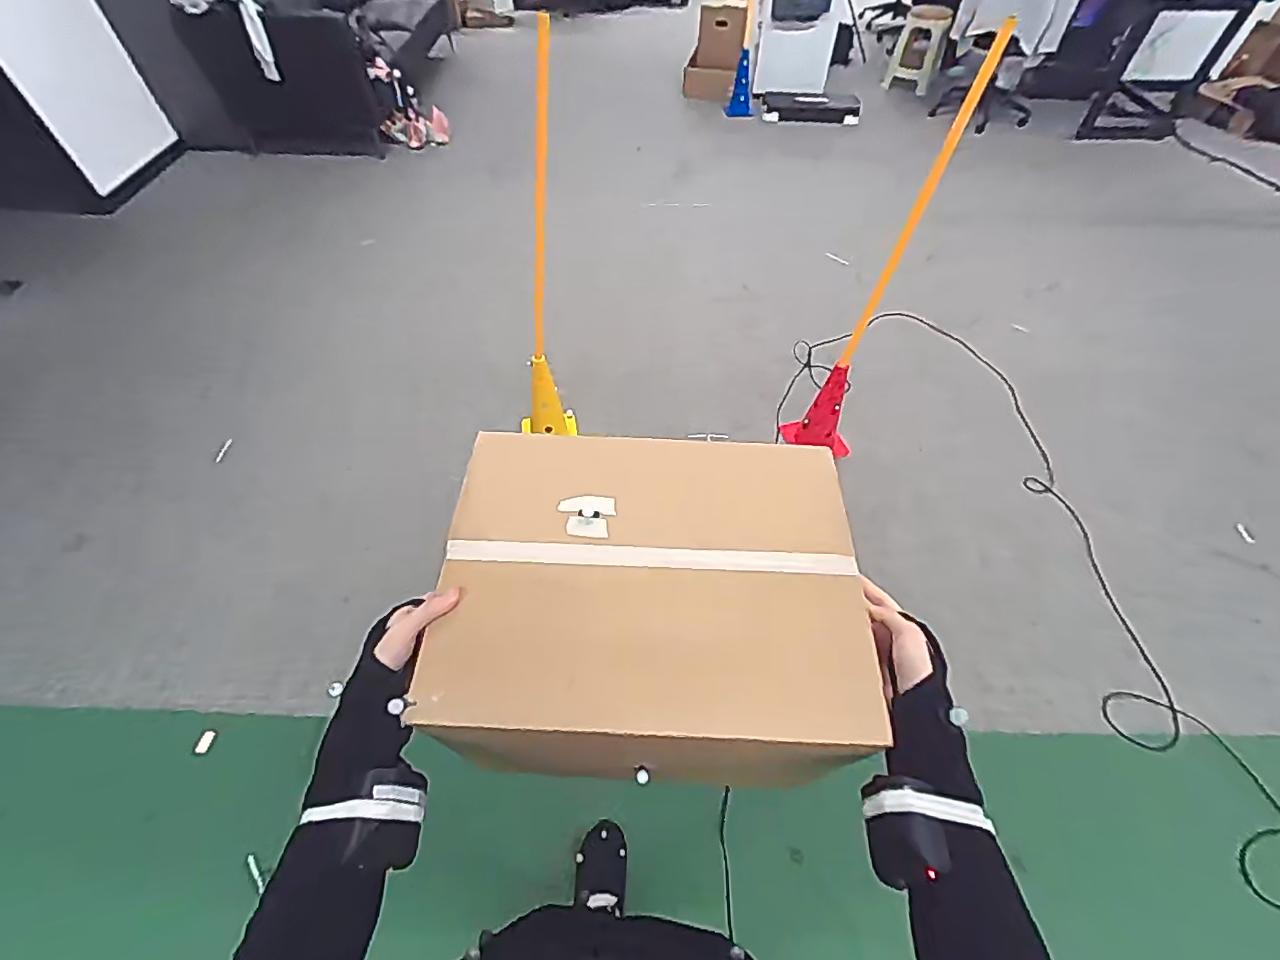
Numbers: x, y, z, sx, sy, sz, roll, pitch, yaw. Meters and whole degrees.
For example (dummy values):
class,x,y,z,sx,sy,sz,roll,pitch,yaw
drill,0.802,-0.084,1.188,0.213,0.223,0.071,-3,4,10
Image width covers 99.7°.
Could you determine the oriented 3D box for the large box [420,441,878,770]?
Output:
class,x,y,z,sx,sy,sz,roll,pitch,yaw
large box,0.013,0.168,0.670,0.408,0.320,0.320,2,54,1
